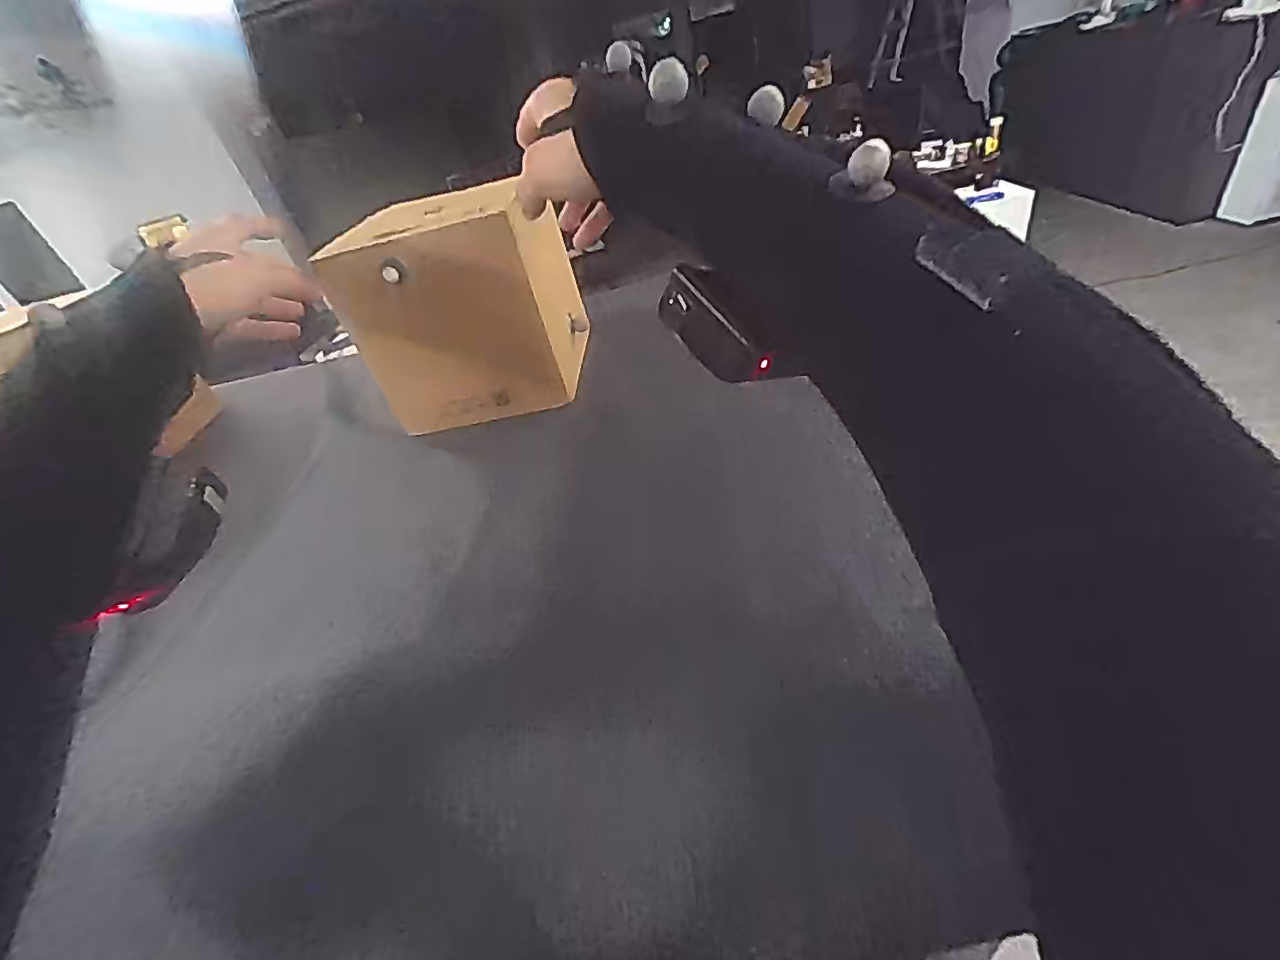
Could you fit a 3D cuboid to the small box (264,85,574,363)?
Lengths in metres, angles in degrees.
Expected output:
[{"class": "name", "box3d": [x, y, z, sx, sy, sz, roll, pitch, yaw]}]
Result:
[{"class": "small box", "box3d": [-0.164, -0.223, 0.475, 0.168, 0.176, 0.179, -10, 37, 9]}]
